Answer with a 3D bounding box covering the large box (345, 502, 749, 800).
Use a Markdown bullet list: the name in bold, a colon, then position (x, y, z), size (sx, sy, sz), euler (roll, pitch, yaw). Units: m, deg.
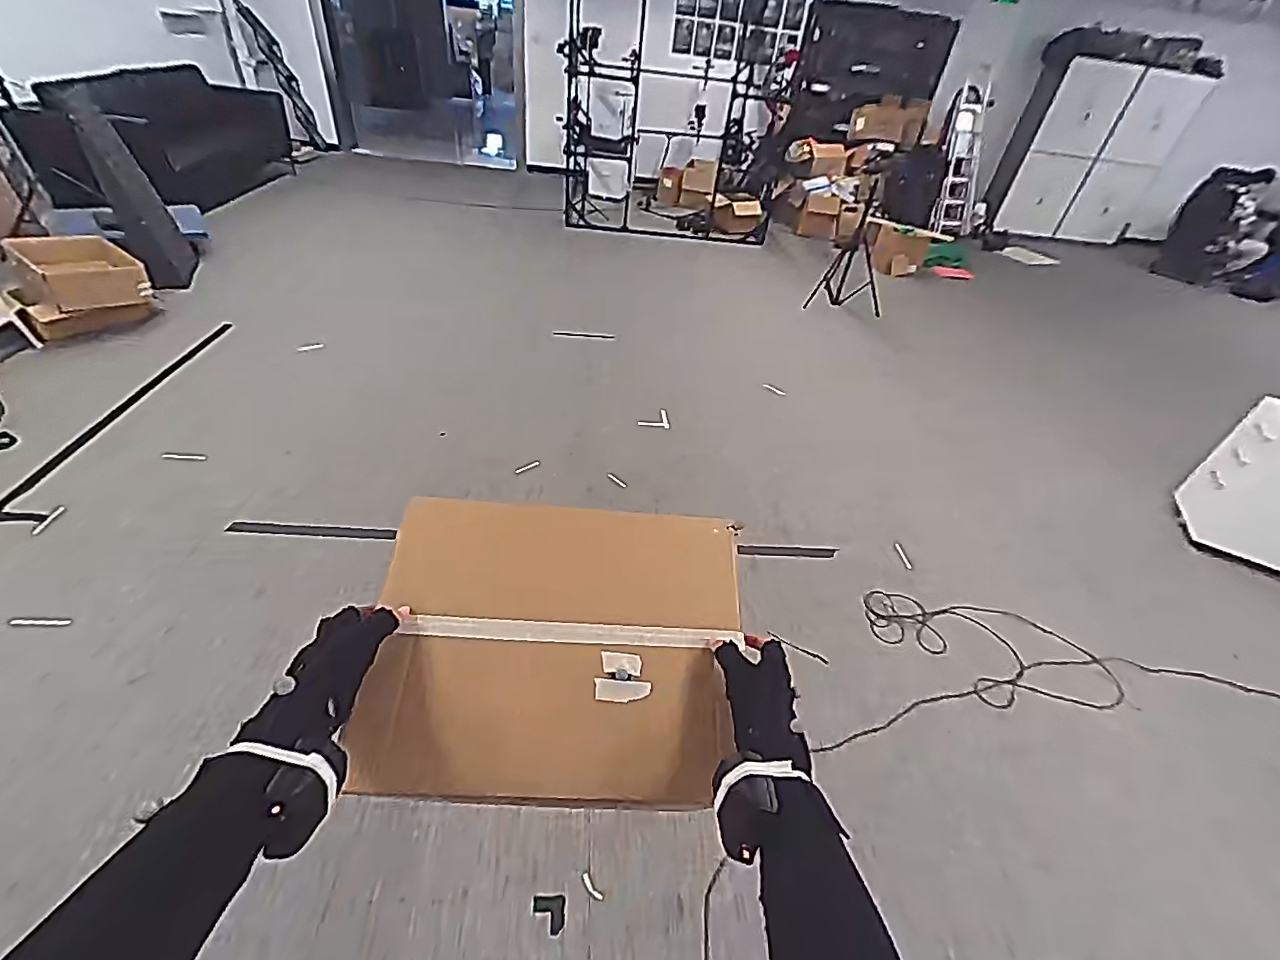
- **large box**: position (-0.103, 0.249, 0.732), size (0.408, 0.320, 0.320), euler (5, 58, -5)
